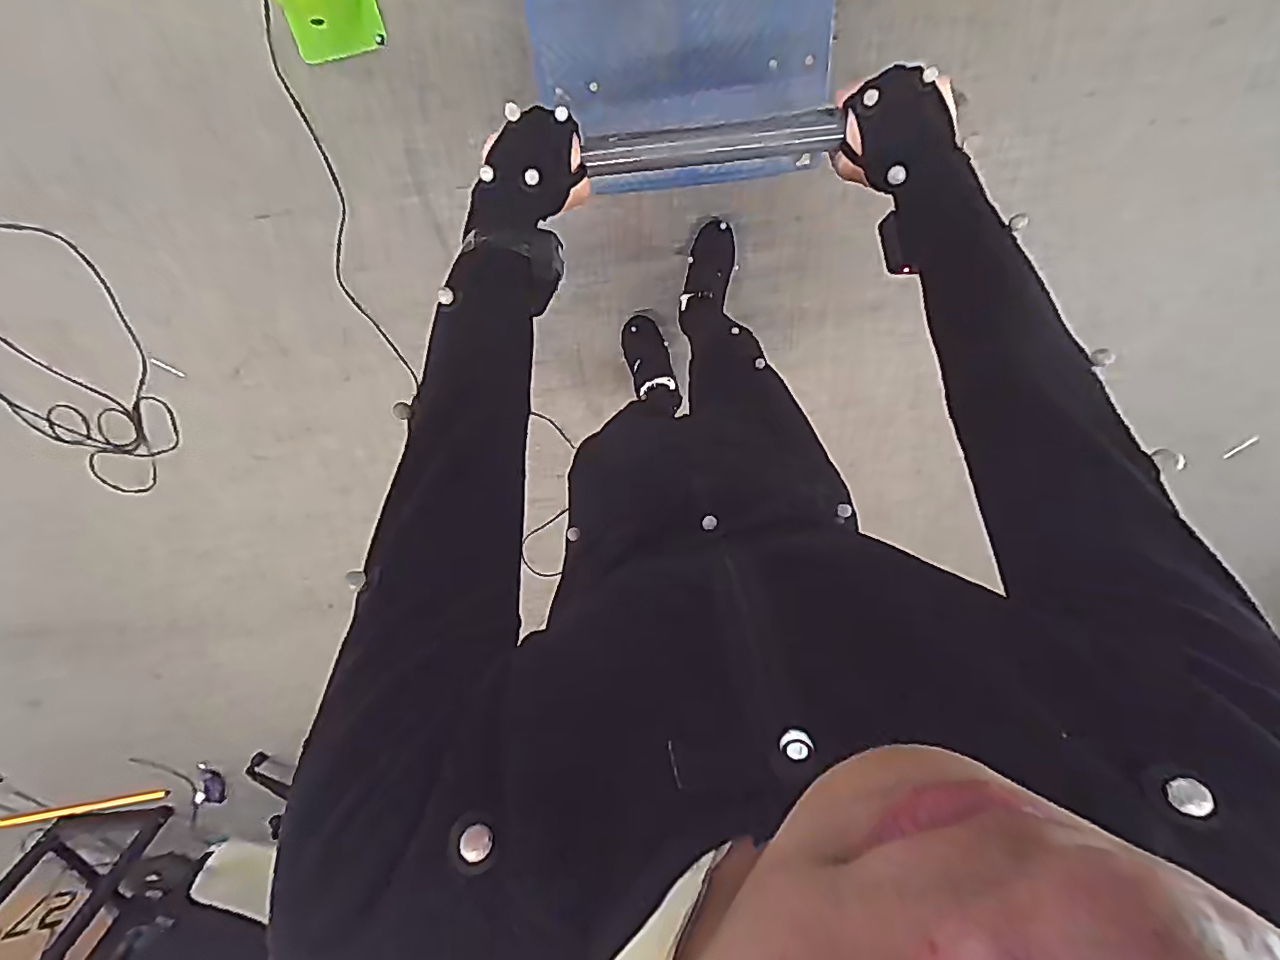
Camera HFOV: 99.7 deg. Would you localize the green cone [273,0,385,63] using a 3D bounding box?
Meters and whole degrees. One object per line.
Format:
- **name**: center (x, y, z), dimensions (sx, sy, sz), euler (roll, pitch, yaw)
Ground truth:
- **green cone**: center (-0.668, -0.935, 0.988), dimensions (0.202, 0.368, 0.200), euler (-8, 118, 8)
